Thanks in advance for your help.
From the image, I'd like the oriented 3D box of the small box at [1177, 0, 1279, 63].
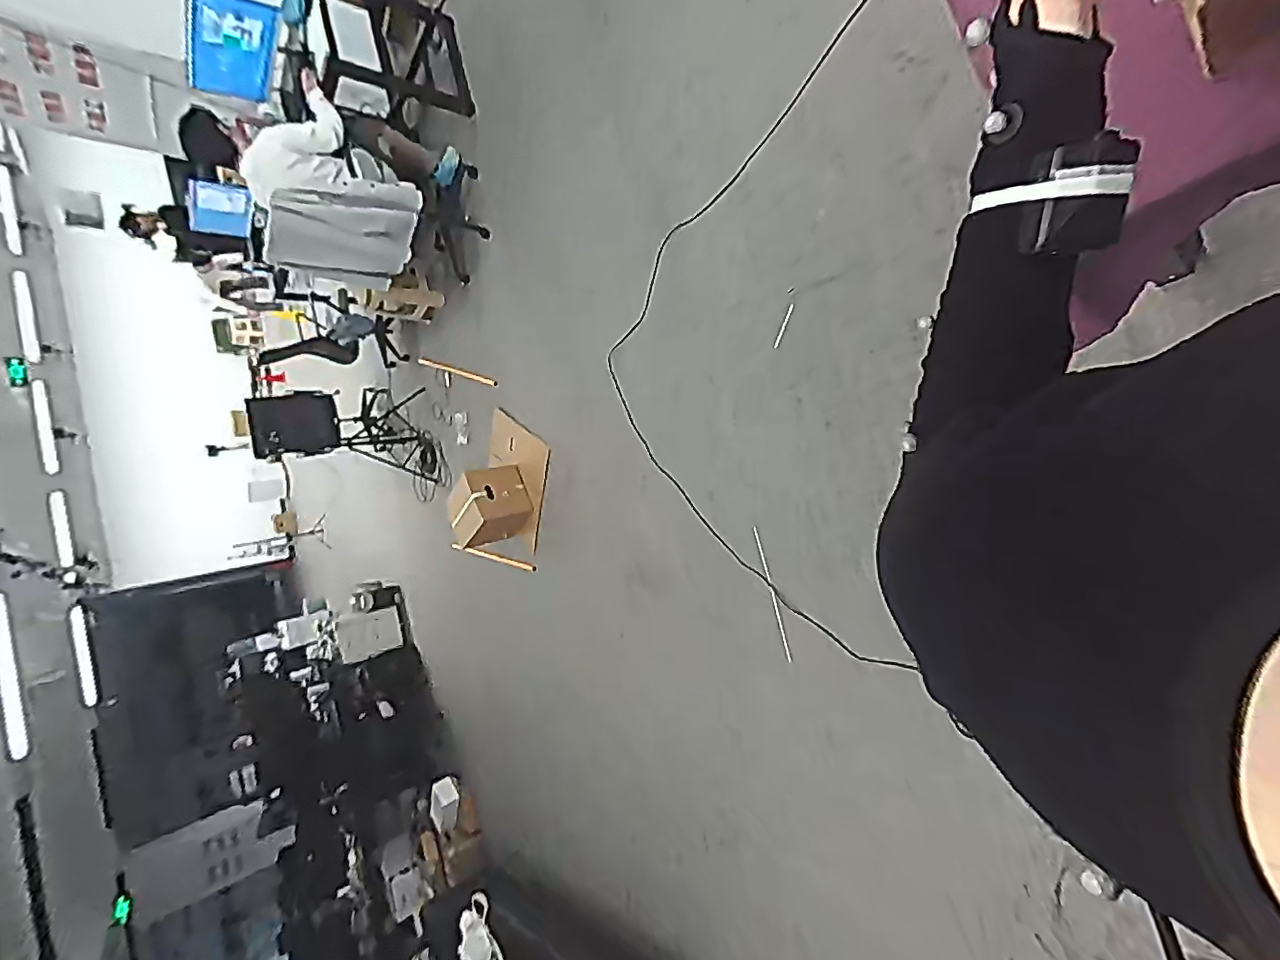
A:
[{"bbox_3d":[0.521,-0.470,0.416,0.168,0.176,0.179,-18,84,49],"label":"small box"}]
